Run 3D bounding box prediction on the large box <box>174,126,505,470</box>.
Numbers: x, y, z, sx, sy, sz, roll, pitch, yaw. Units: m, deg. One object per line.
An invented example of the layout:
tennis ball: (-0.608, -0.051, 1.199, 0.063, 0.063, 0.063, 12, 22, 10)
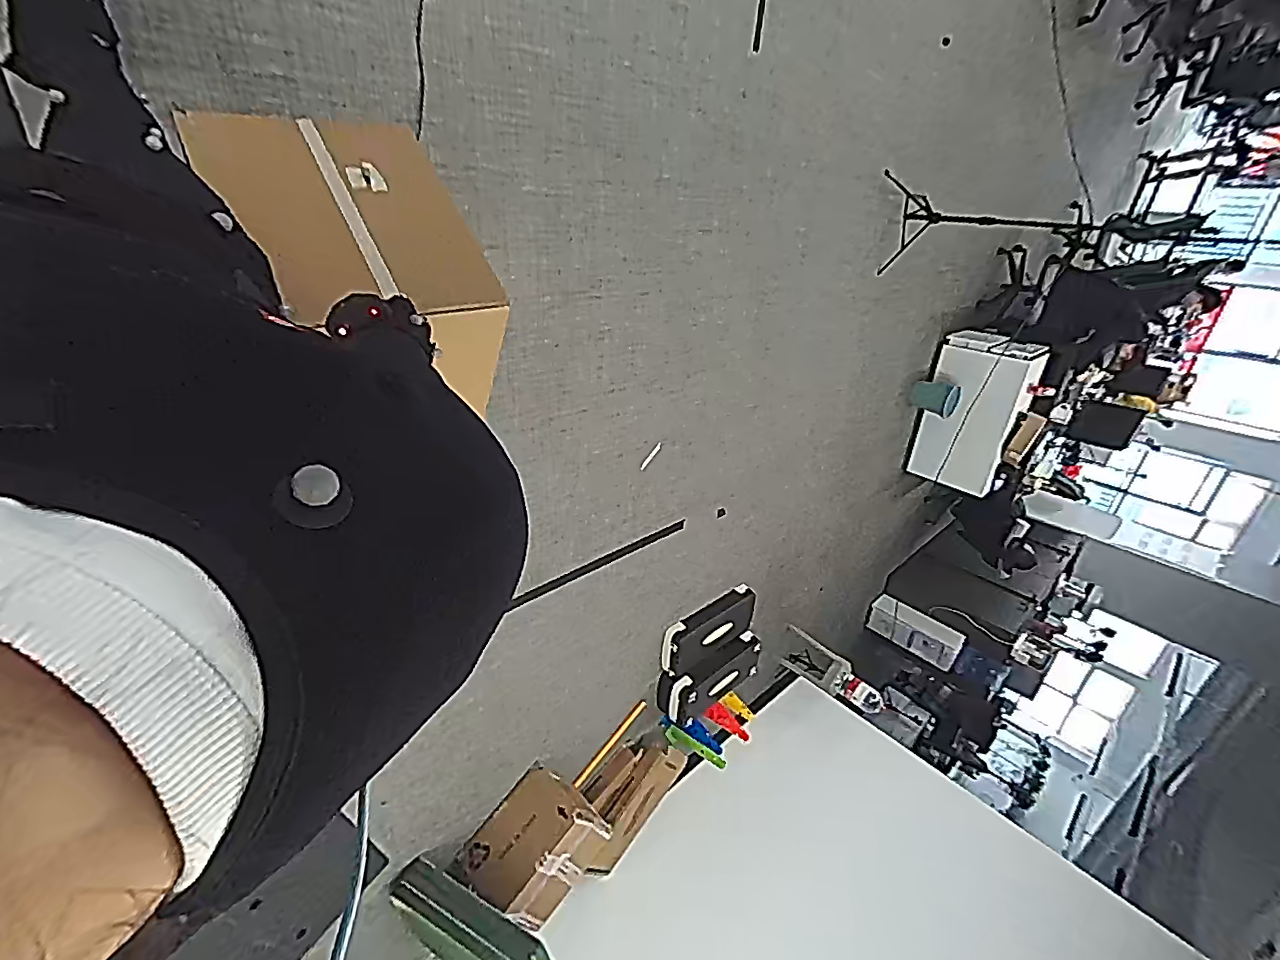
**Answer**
large box: (-0.467, -0.289, 0.875, 0.320, 0.408, 0.320, -20, 158, -35)
